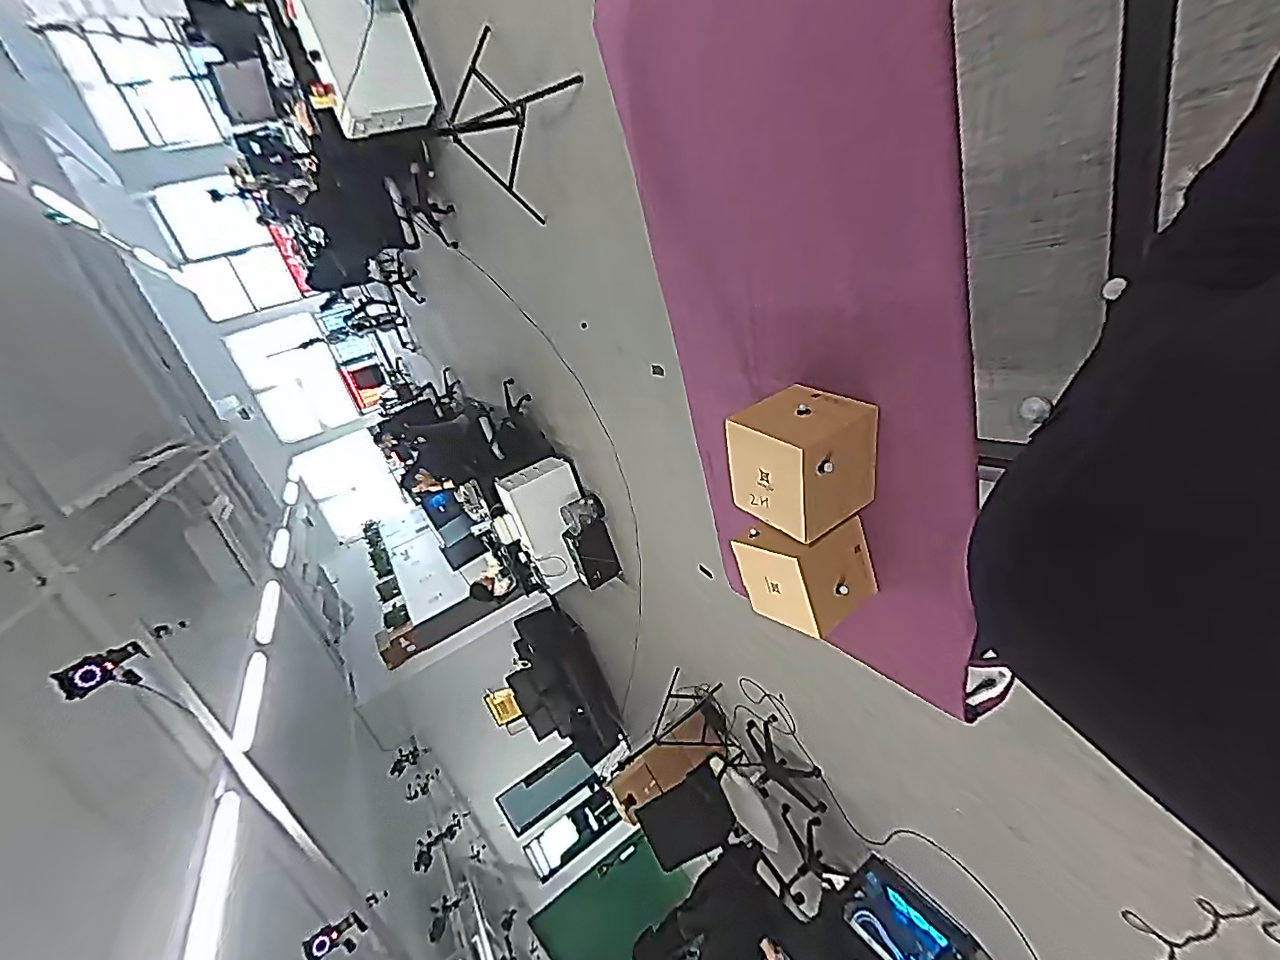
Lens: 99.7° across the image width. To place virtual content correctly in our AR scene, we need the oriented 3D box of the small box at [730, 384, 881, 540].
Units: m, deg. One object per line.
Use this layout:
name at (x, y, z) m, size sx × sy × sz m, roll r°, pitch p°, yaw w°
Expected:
small box at (0.271, -0.040, 0.884) m, size 0.168 × 0.176 × 0.179 m, roll 34°, pitch 144°, yaw 51°

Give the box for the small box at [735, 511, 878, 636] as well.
small box at (0.315, 0.154, 1.005) m, size 0.179 × 0.176 × 0.168 m, roll 8°, pitch 123°, yaw 62°
